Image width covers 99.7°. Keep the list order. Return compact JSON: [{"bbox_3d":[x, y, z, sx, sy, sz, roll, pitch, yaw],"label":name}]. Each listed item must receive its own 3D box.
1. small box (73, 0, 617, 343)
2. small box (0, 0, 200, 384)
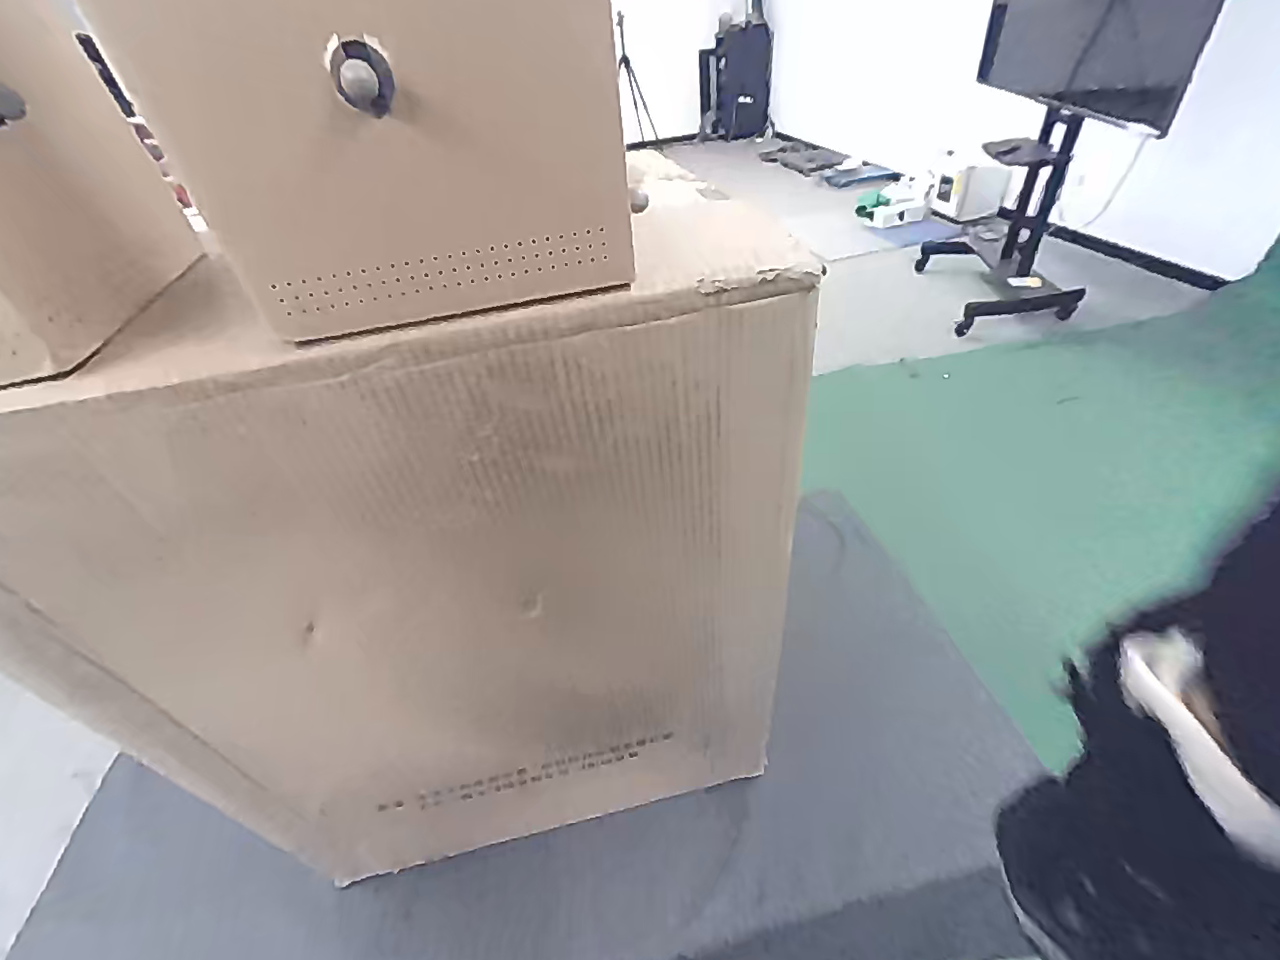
[{"bbox_3d":[-0.110,-0.189,0.270,0.179,0.176,0.168,-12,41,-5],"label":"small box"},{"bbox_3d":[-0.368,-0.149,0.258,0.168,0.176,0.179,-12,42,-6],"label":"small box"}]
